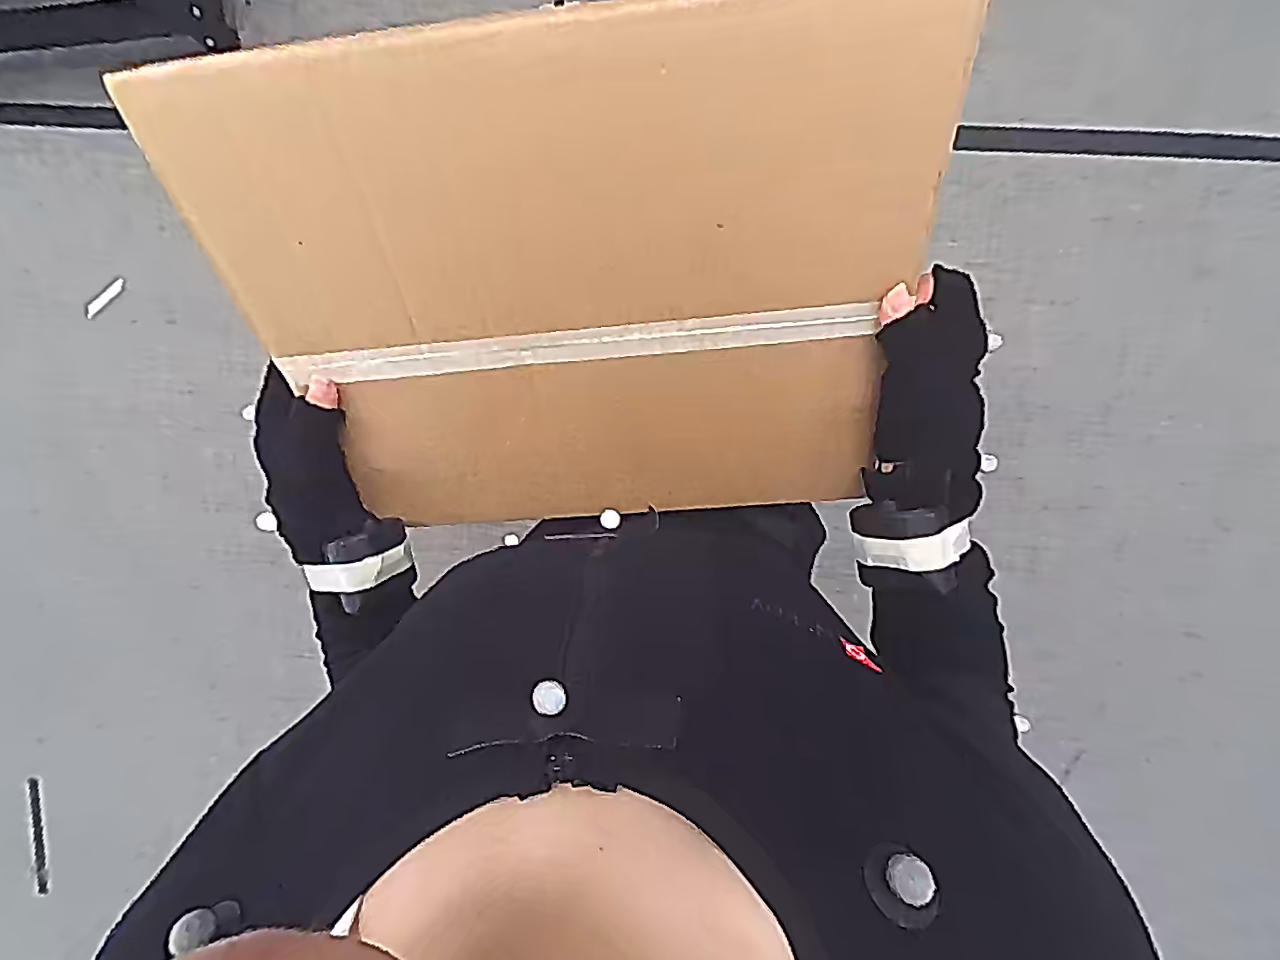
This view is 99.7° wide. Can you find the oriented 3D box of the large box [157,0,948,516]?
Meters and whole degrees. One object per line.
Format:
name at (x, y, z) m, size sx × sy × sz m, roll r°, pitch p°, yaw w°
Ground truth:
large box at (-0.035, -0.195, 0.469) m, size 0.408 × 0.320 × 0.320 m, roll -4°, pitch 132°, yaw 5°
